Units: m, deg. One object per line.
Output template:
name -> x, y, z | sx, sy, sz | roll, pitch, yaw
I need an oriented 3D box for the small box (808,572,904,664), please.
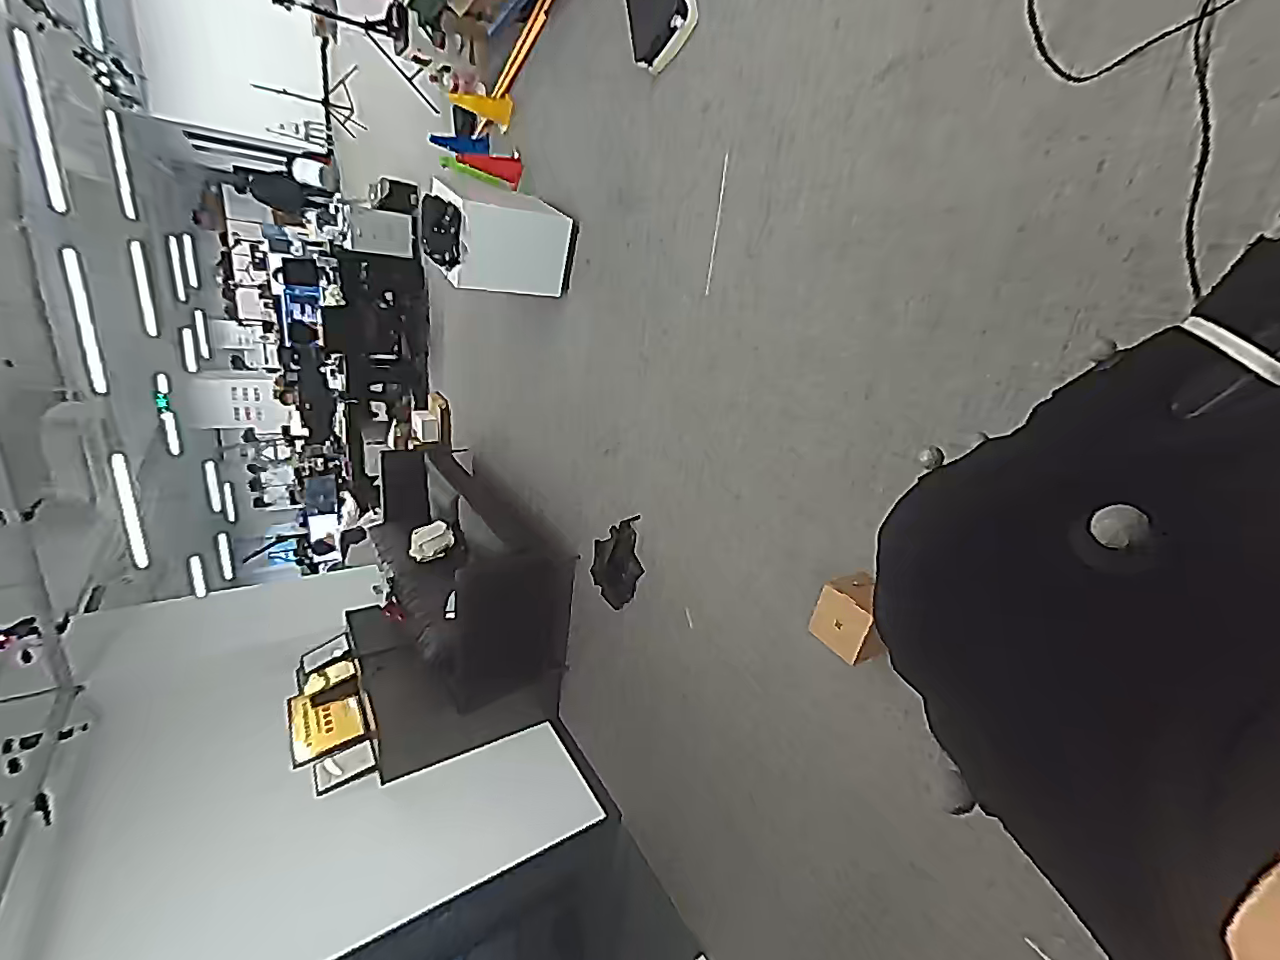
small box -> 0.618, 0.383, 1.538 | 0.168, 0.176, 0.179 | 40, 128, 47
